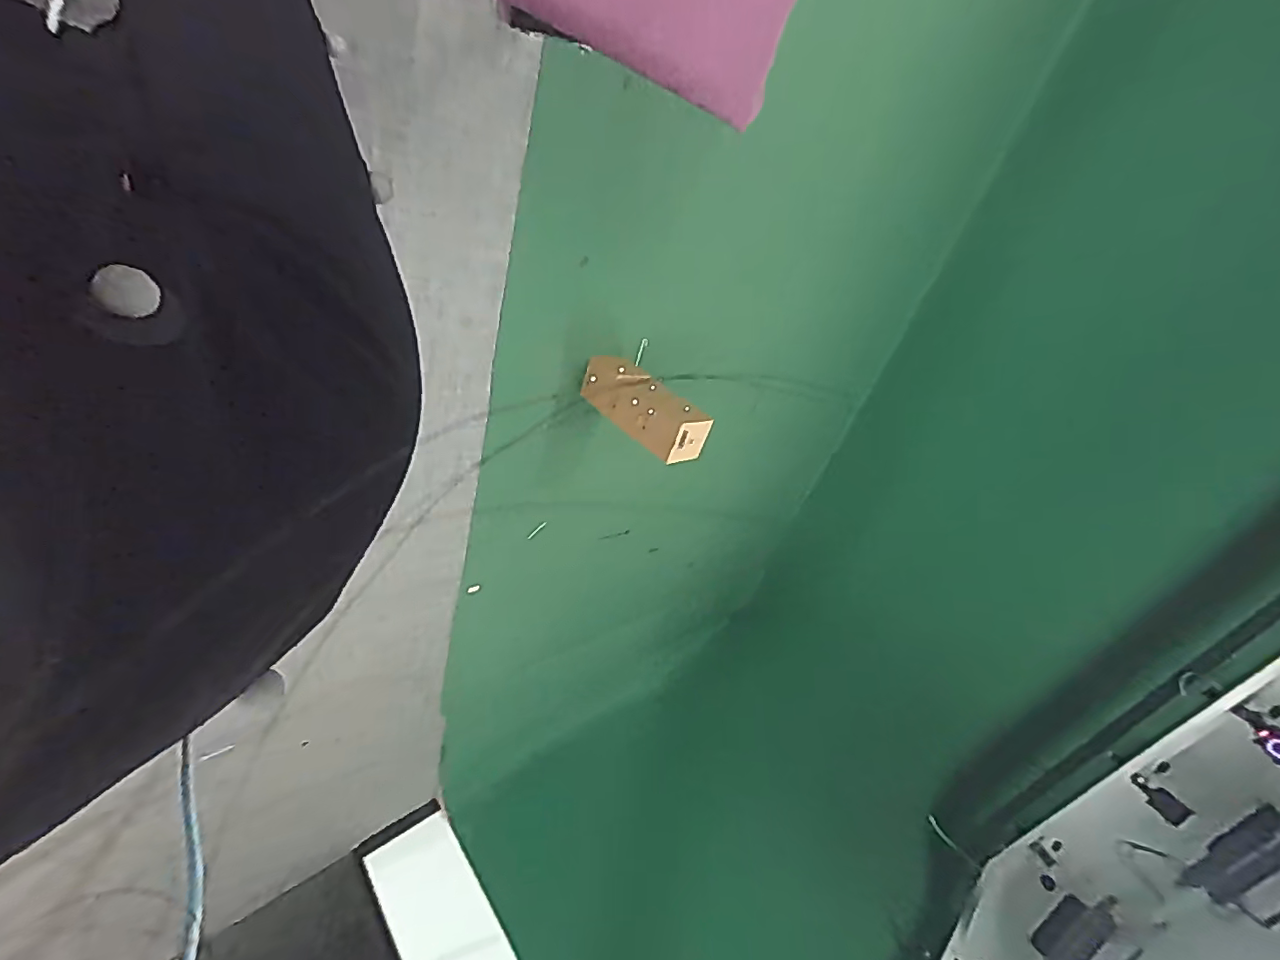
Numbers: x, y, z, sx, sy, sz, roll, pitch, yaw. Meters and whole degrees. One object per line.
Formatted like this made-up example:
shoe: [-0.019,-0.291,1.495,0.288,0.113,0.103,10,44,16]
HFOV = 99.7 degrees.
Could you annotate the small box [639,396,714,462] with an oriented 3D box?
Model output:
small box: [0.124,-0.186,1.917,0.179,0.176,0.168,-13,134,-44]

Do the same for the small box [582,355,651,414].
small box: [-0.093,-0.371,2.081,0.179,0.176,0.168,-11,132,-43]
